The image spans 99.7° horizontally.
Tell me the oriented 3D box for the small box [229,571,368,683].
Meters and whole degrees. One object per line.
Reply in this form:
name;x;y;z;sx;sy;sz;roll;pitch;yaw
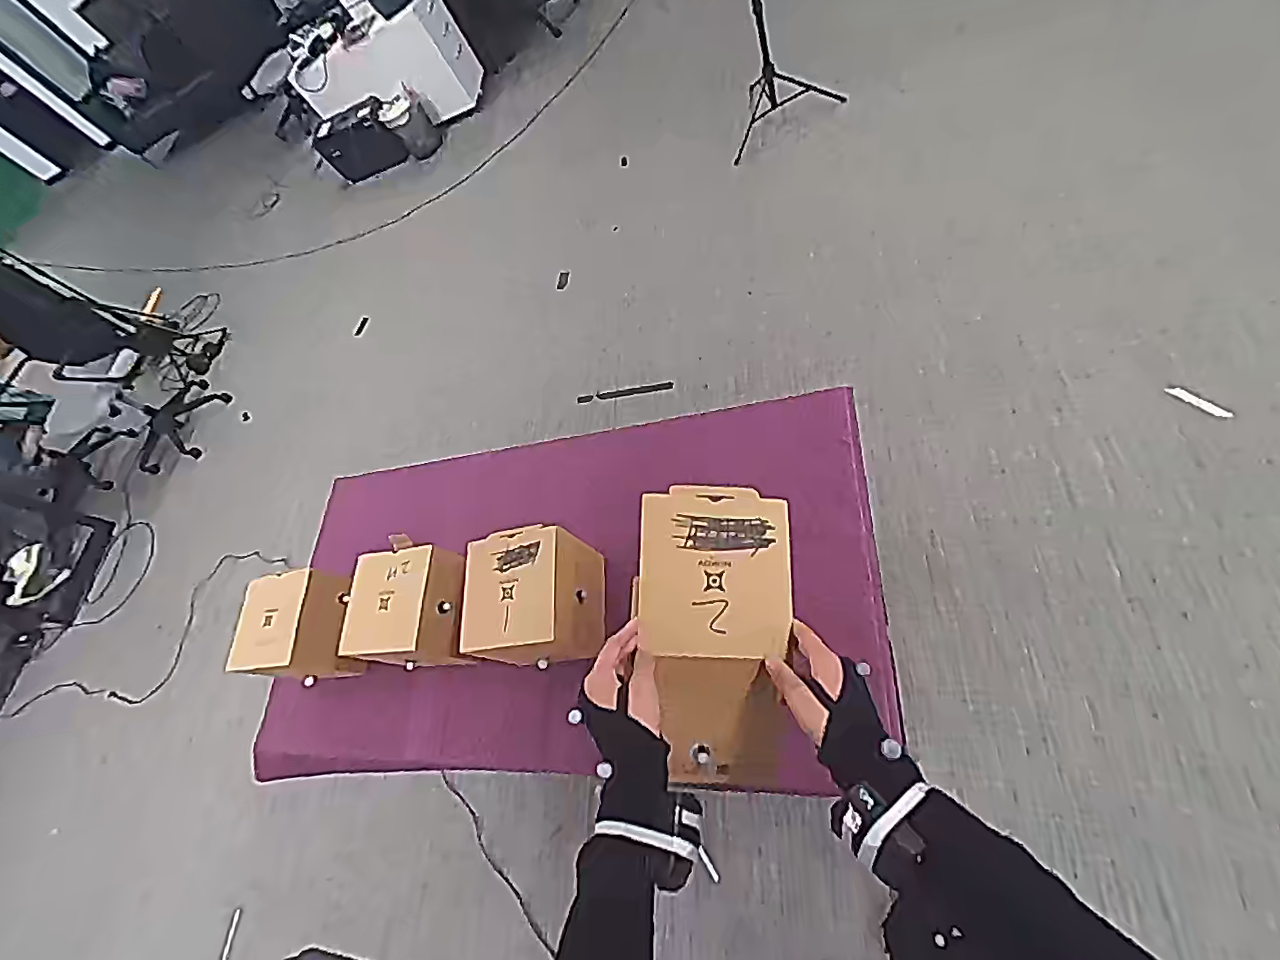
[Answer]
small box;-0.644;0.294;1.060;0.168;0.176;0.179;-12;61;19

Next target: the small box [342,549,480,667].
small box;-0.389;0.238;0.972;0.168;0.176;0.179;-9;62;20

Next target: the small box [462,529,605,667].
small box;-0.165;0.201;0.889;0.168;0.176;0.179;-13;62;19
